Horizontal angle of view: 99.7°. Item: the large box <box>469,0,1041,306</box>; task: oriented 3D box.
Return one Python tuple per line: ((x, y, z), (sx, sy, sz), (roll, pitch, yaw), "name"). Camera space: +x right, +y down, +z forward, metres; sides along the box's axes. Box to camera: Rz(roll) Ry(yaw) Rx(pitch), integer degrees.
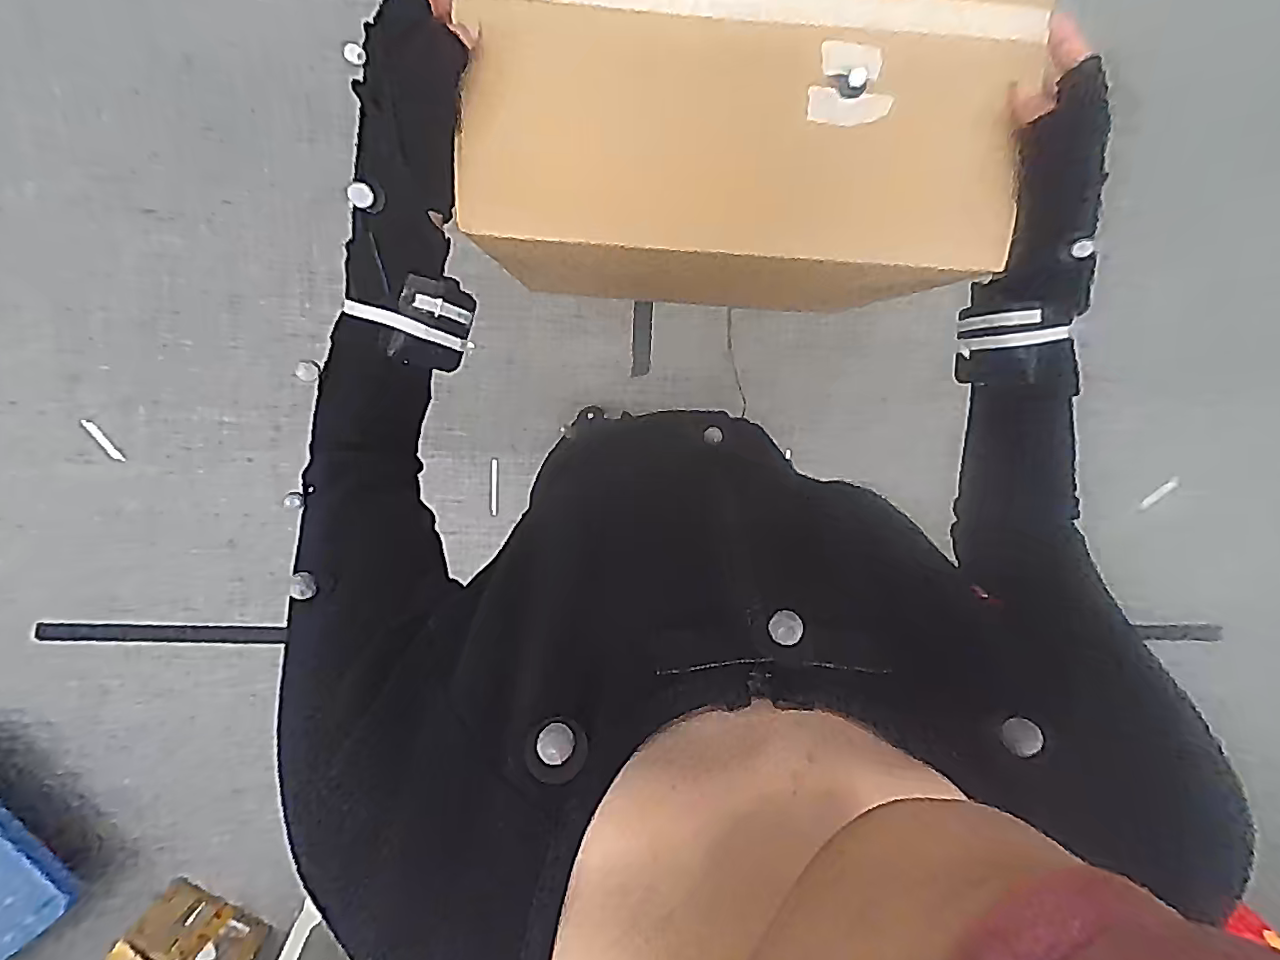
((0.072, -0.352, 0.517), (0.408, 0.320, 0.320), (2, 102, -4), "large box")
